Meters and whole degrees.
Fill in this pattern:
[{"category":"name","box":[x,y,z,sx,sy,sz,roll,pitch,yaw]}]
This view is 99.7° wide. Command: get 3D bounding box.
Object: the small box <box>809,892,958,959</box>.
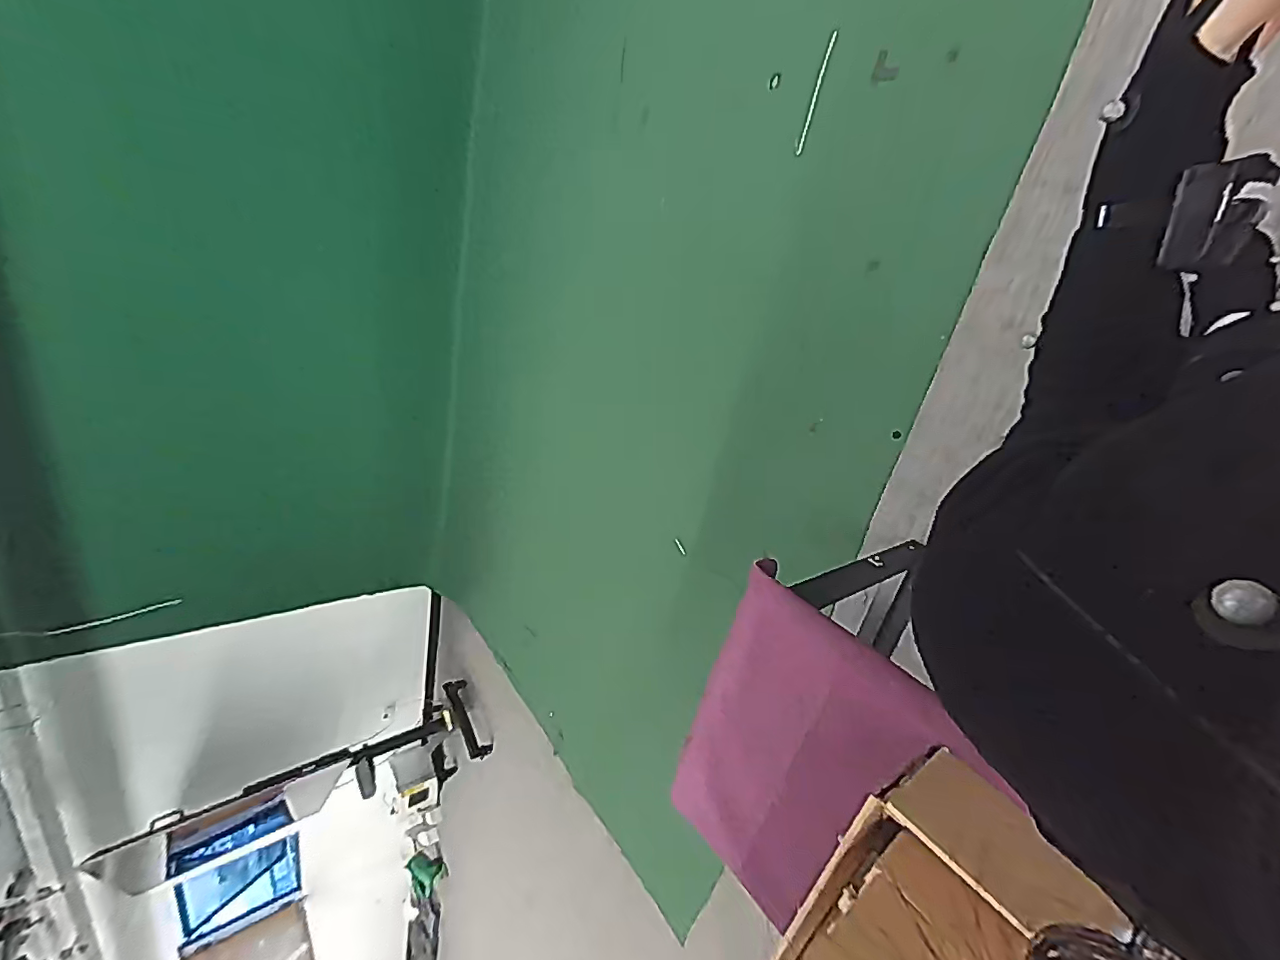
[{"category":"small box","box":[0.264,0.597,0.582,0.179,0.176,0.168,37,123,38]}]
